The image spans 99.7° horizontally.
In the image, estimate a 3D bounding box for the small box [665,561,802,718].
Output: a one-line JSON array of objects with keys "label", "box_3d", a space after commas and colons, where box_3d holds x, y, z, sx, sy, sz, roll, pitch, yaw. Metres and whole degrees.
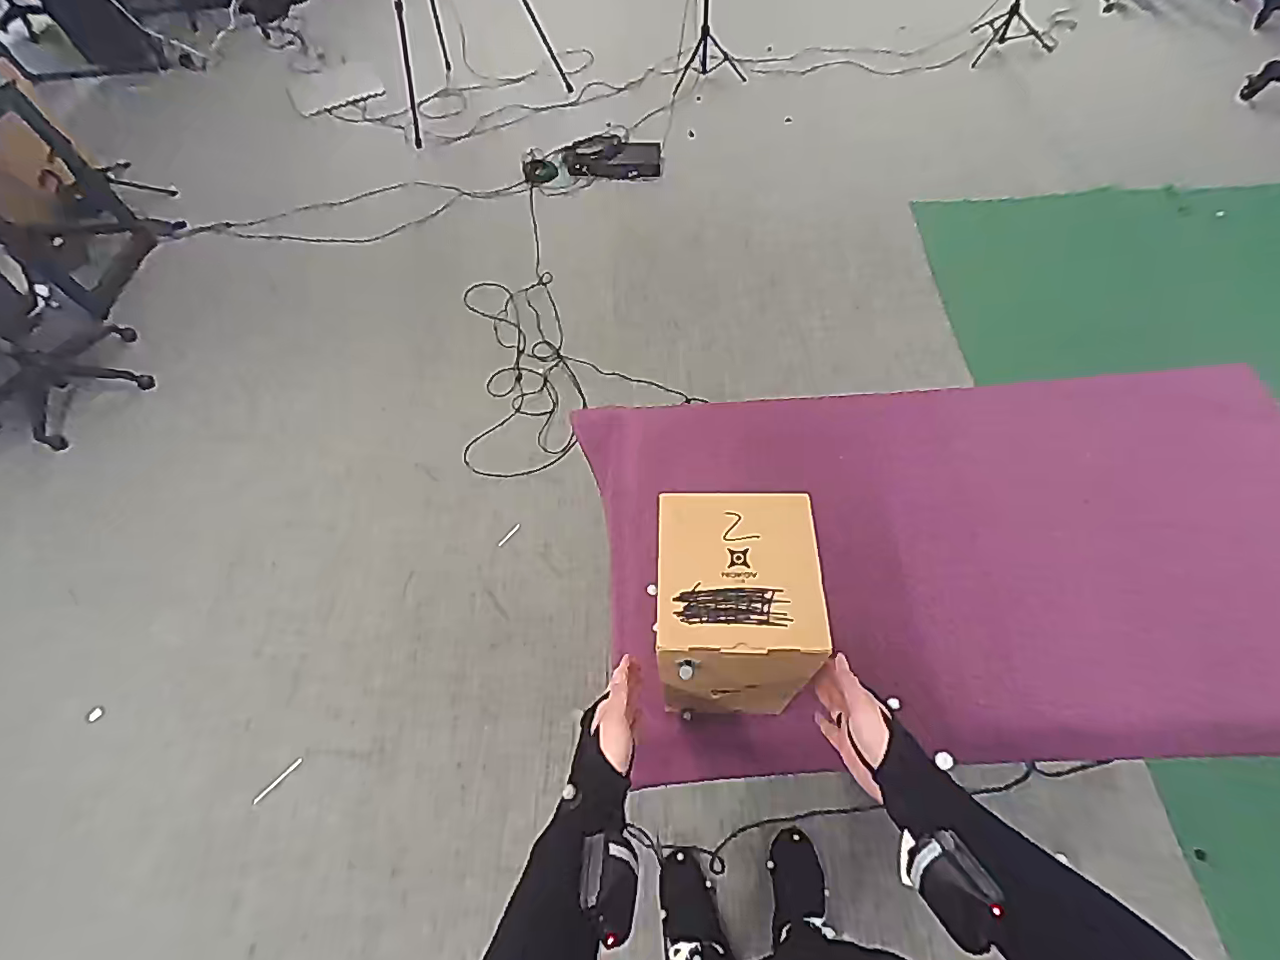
[{"label": "small box", "box_3d": [0.121, 0.226, 0.754, 0.168, 0.176, 0.179, 0, 57, 4]}]
